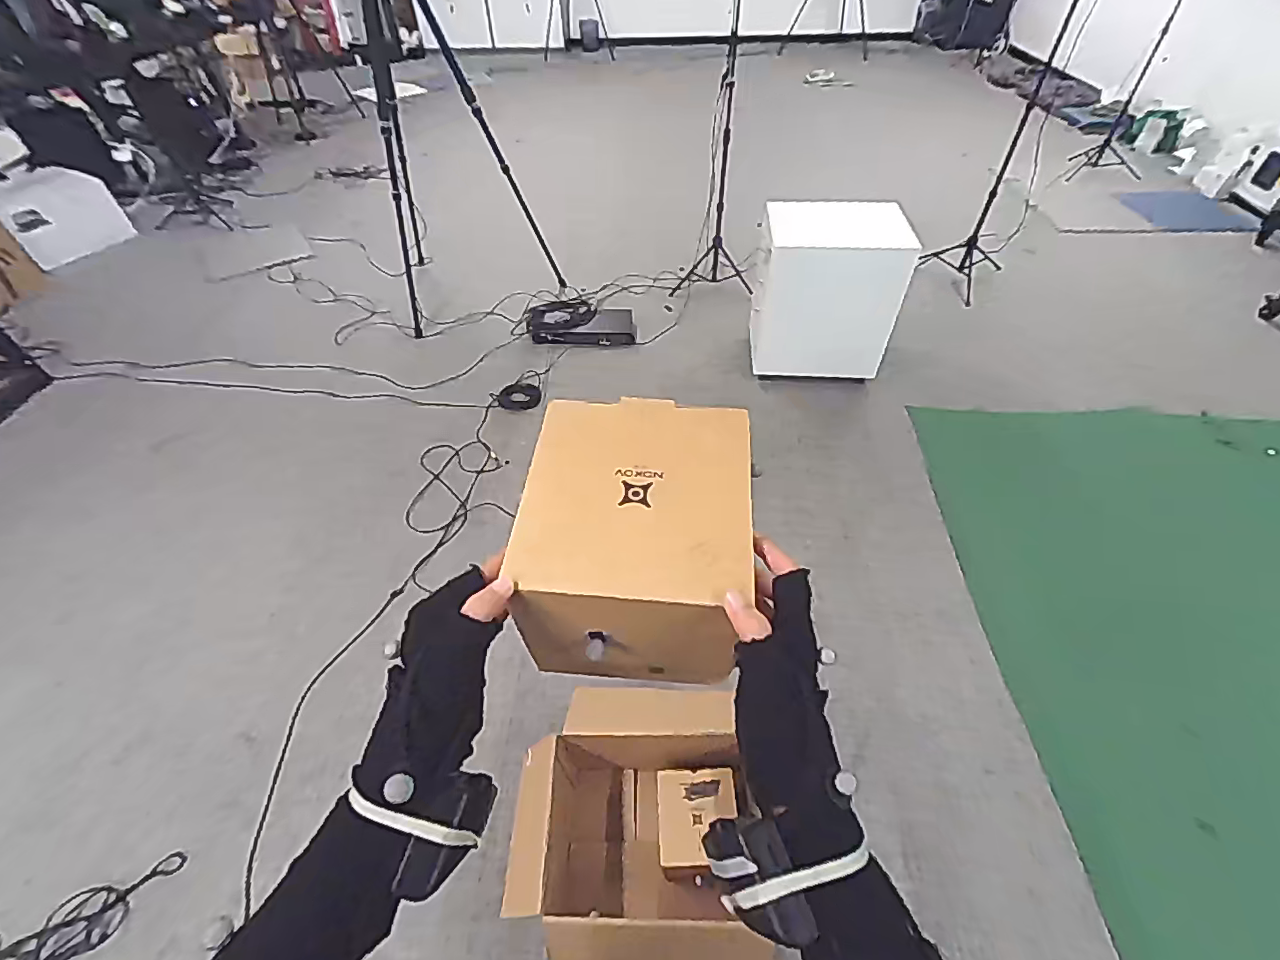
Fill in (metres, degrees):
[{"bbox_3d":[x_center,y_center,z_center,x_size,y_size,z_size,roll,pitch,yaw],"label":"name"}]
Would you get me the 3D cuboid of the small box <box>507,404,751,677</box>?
[{"bbox_3d":[0.001,0.057,0.465,0.168,0.176,0.179,3,53,3],"label":"small box"}]
